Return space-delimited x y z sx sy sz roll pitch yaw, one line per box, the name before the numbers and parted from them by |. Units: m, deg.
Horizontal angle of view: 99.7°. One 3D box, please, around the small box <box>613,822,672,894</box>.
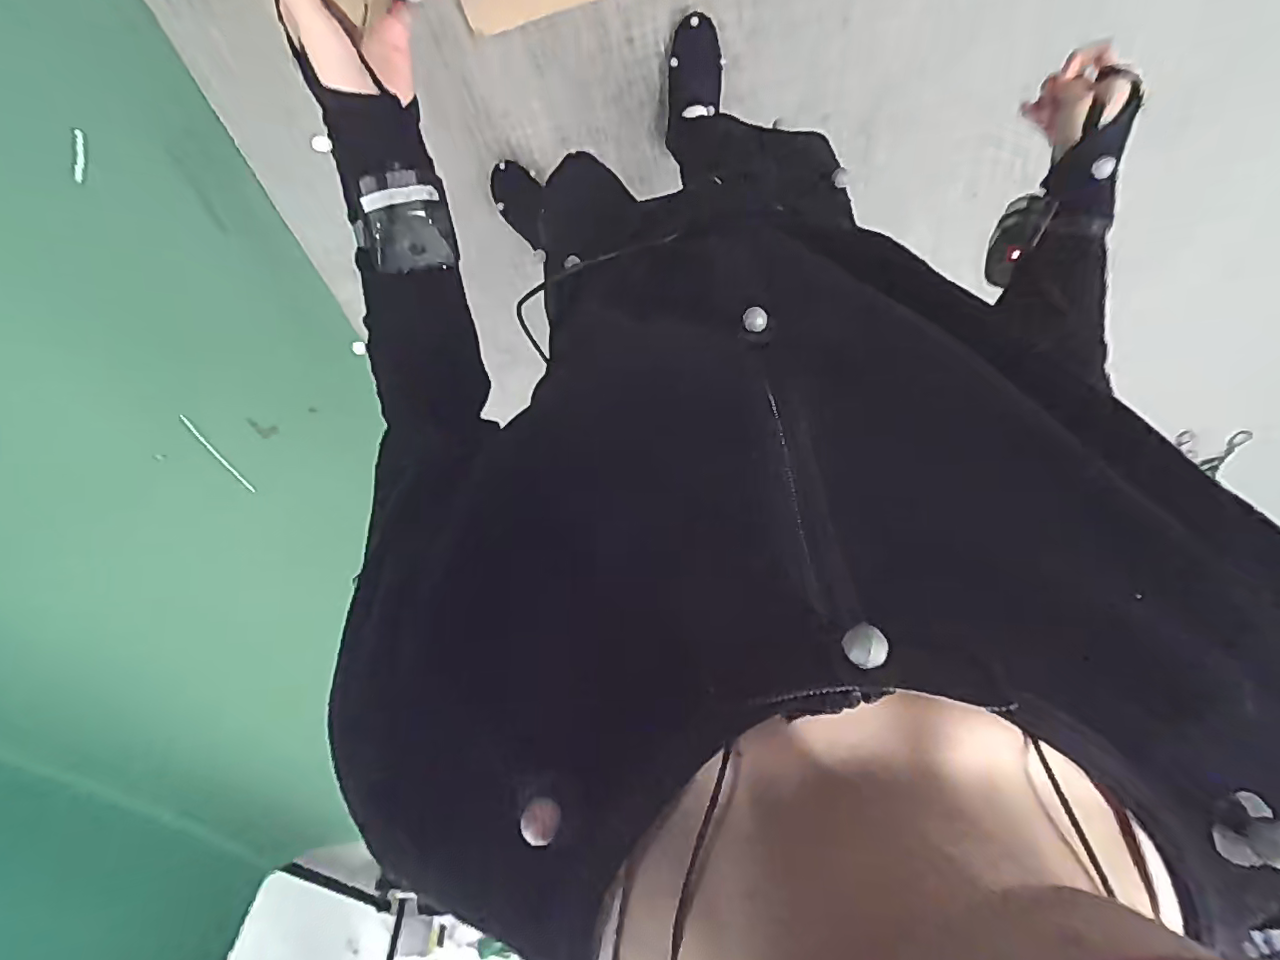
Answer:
small box | 0.009 1.350 1.932 0.168 0.176 0.179 -16 128 9
